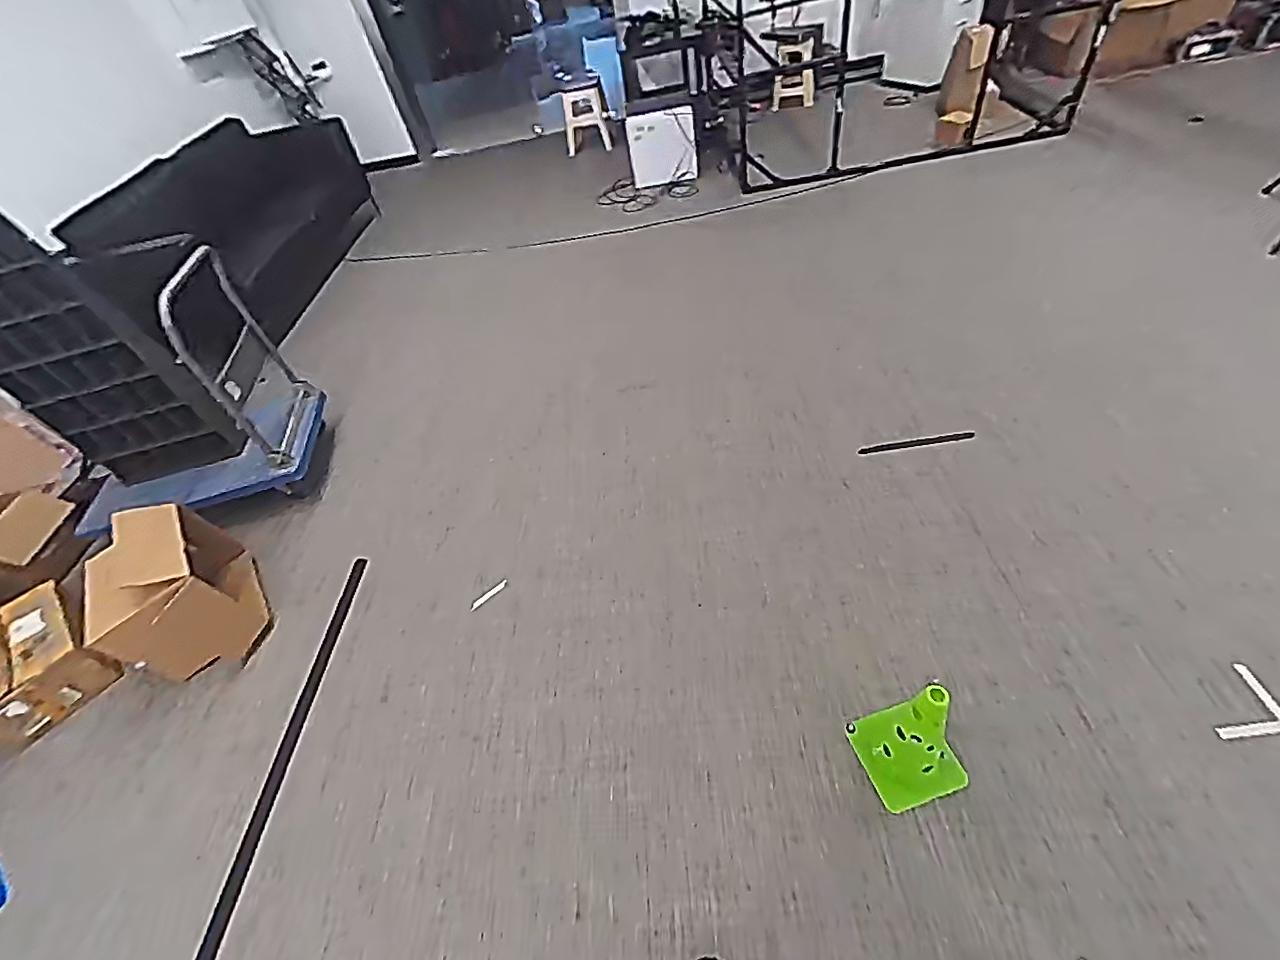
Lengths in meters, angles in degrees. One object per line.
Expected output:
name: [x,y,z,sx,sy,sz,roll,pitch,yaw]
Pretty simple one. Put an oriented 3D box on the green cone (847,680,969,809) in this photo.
green cone: [0.584,0.512,1.122,0.202,0.368,0.200,-18,47,-5]
